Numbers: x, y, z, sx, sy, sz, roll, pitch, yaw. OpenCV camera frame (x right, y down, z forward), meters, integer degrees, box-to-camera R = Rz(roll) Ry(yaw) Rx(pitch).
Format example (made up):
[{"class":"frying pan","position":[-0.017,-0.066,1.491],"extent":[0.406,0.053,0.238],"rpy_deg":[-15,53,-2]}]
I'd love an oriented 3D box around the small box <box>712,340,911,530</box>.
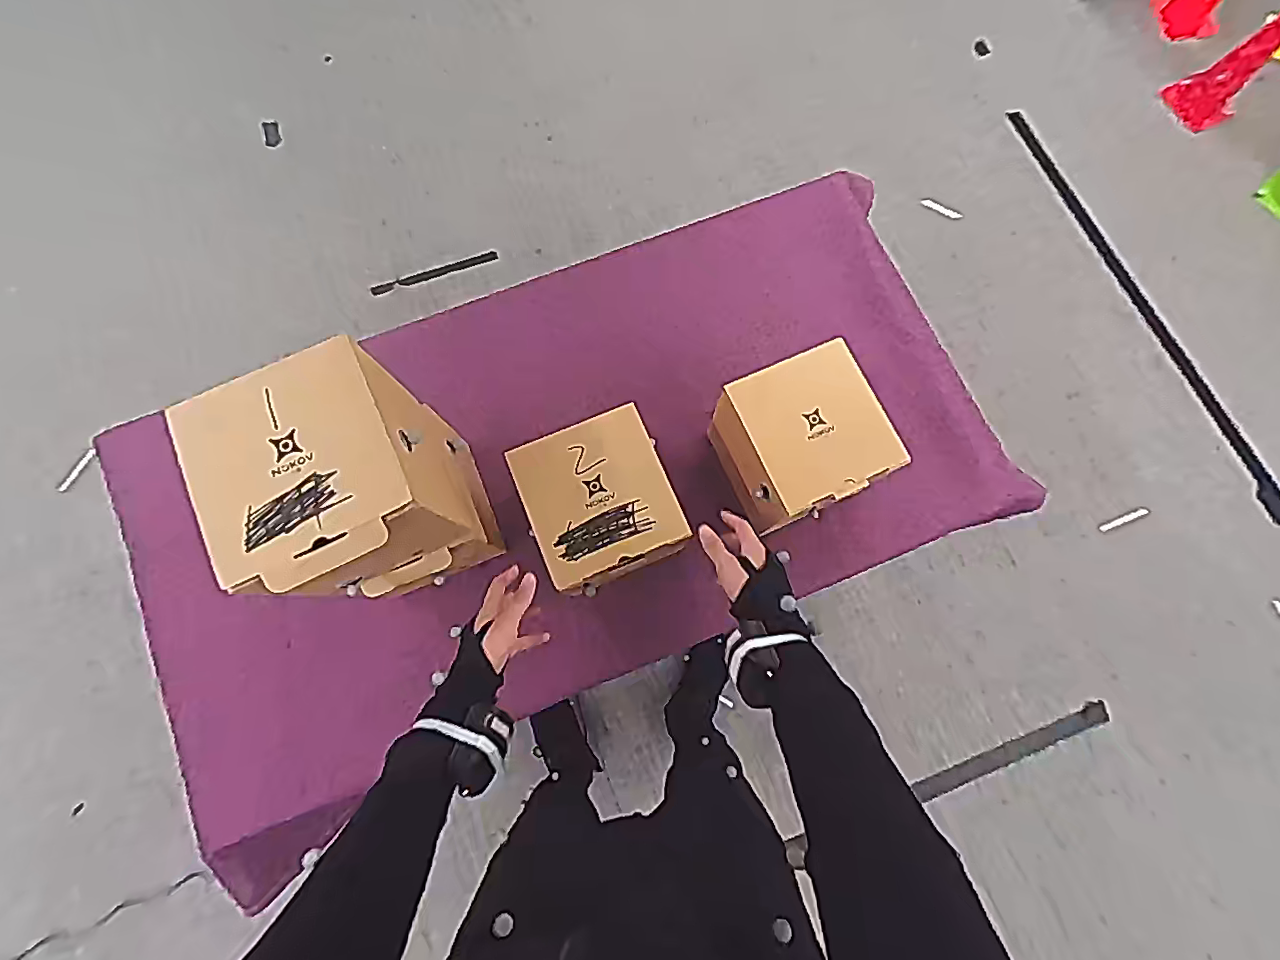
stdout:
[{"class":"small box","position":[0.210,-0.050,0.720],"extent":[0.168,0.176,0.179],"rpy_deg":[-23,78,-6]}]

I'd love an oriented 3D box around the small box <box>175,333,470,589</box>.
[{"class":"small box","position":[-0.291,-0.005,0.534],"extent":[0.168,0.176,0.179],"rpy_deg":[-26,78,-6]}]

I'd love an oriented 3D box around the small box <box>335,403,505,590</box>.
[{"class":"small box","position":[-0.292,0.032,0.695],"extent":[0.168,0.176,0.179],"rpy_deg":[-22,79,-5]}]
